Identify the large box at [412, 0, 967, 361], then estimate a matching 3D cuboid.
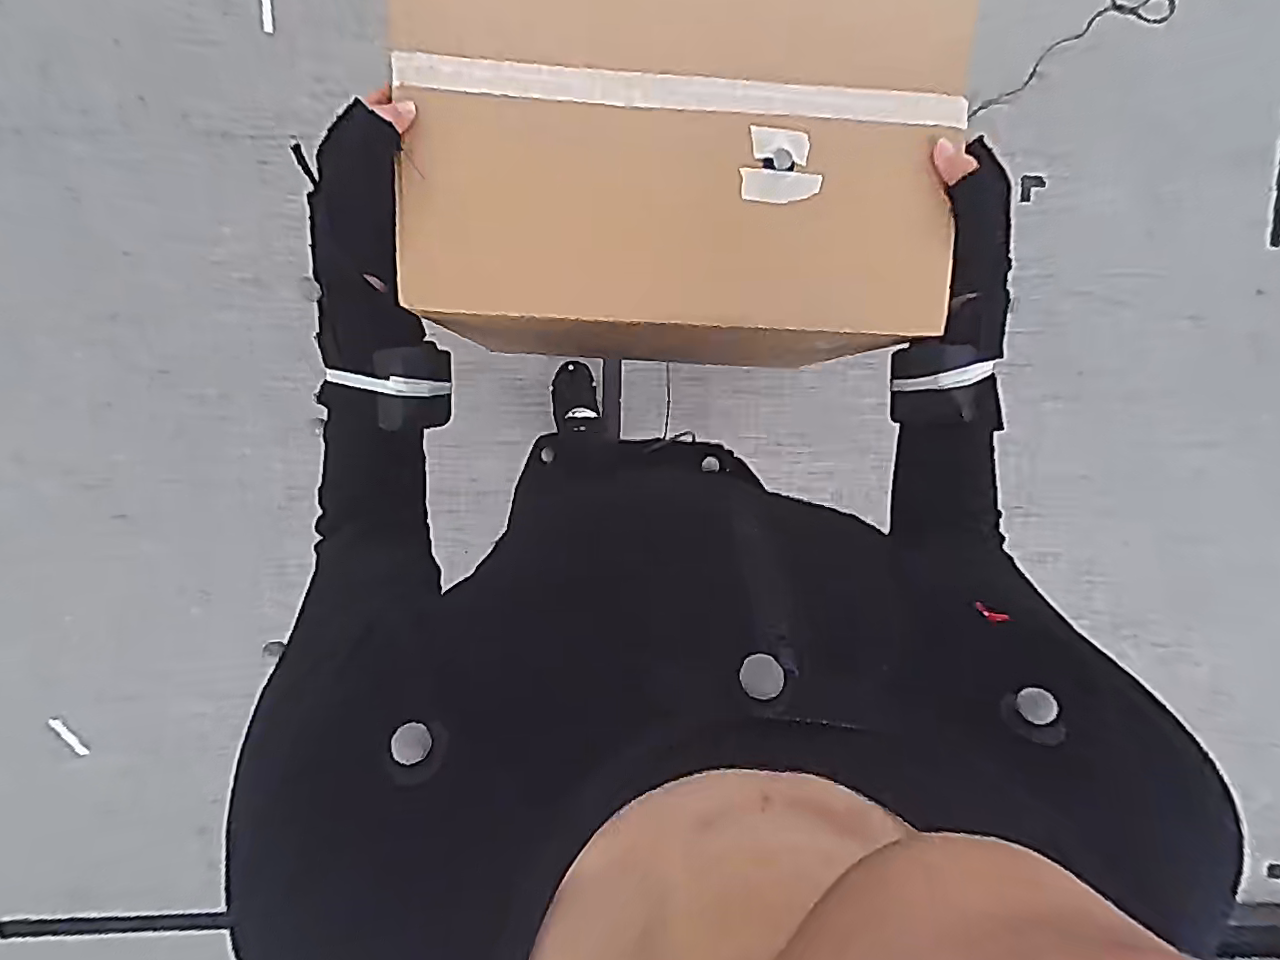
[{"bbox_3d":[0.026,-0.293,0.539,0.408,0.320,0.320,2,98,-5],"label":"large box"}]
